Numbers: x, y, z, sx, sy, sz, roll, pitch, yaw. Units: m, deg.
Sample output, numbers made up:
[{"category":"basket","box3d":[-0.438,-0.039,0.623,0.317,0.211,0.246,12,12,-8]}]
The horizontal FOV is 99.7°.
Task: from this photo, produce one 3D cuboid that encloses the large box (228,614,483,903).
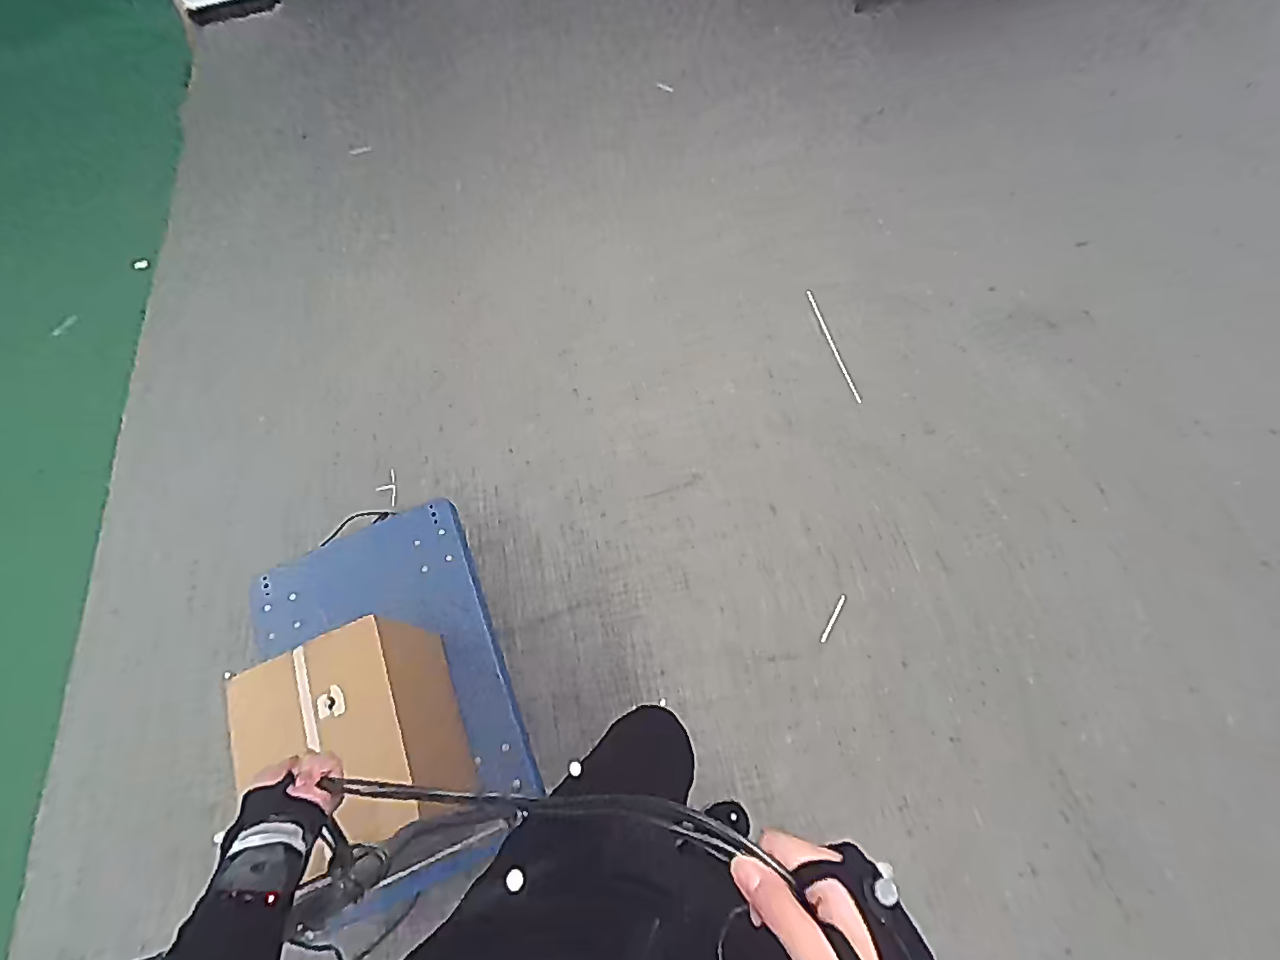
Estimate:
[{"category":"large box","box3d":[-0.580,0.554,1.135,0.320,0.320,0.408,-24,65,-5]}]
